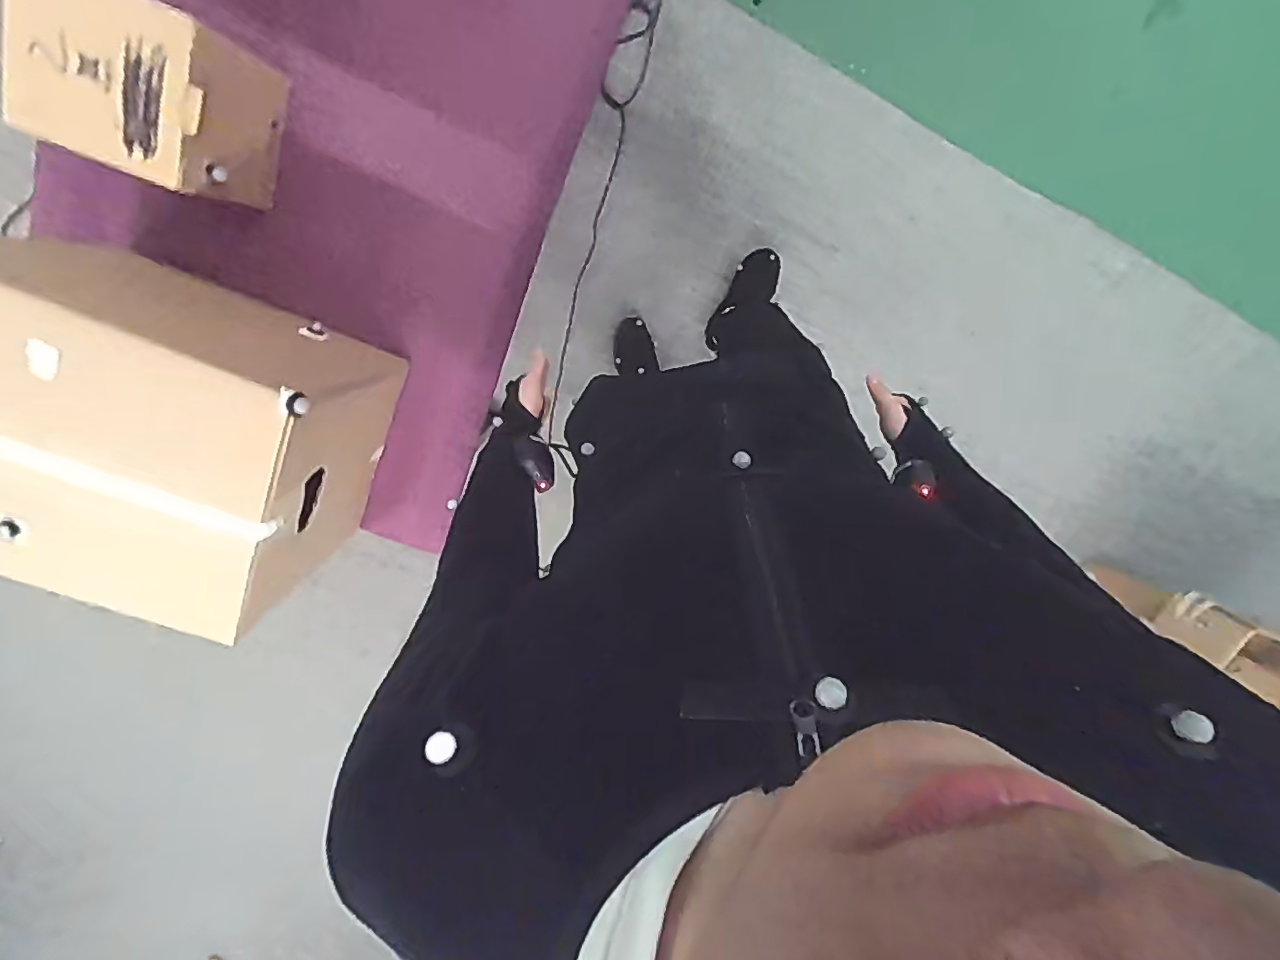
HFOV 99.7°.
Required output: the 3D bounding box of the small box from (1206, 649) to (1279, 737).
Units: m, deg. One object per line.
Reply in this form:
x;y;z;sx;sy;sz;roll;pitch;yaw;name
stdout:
1.653;0.567;1.400;0.179;0.176;0.168;20;107;-11;small box
